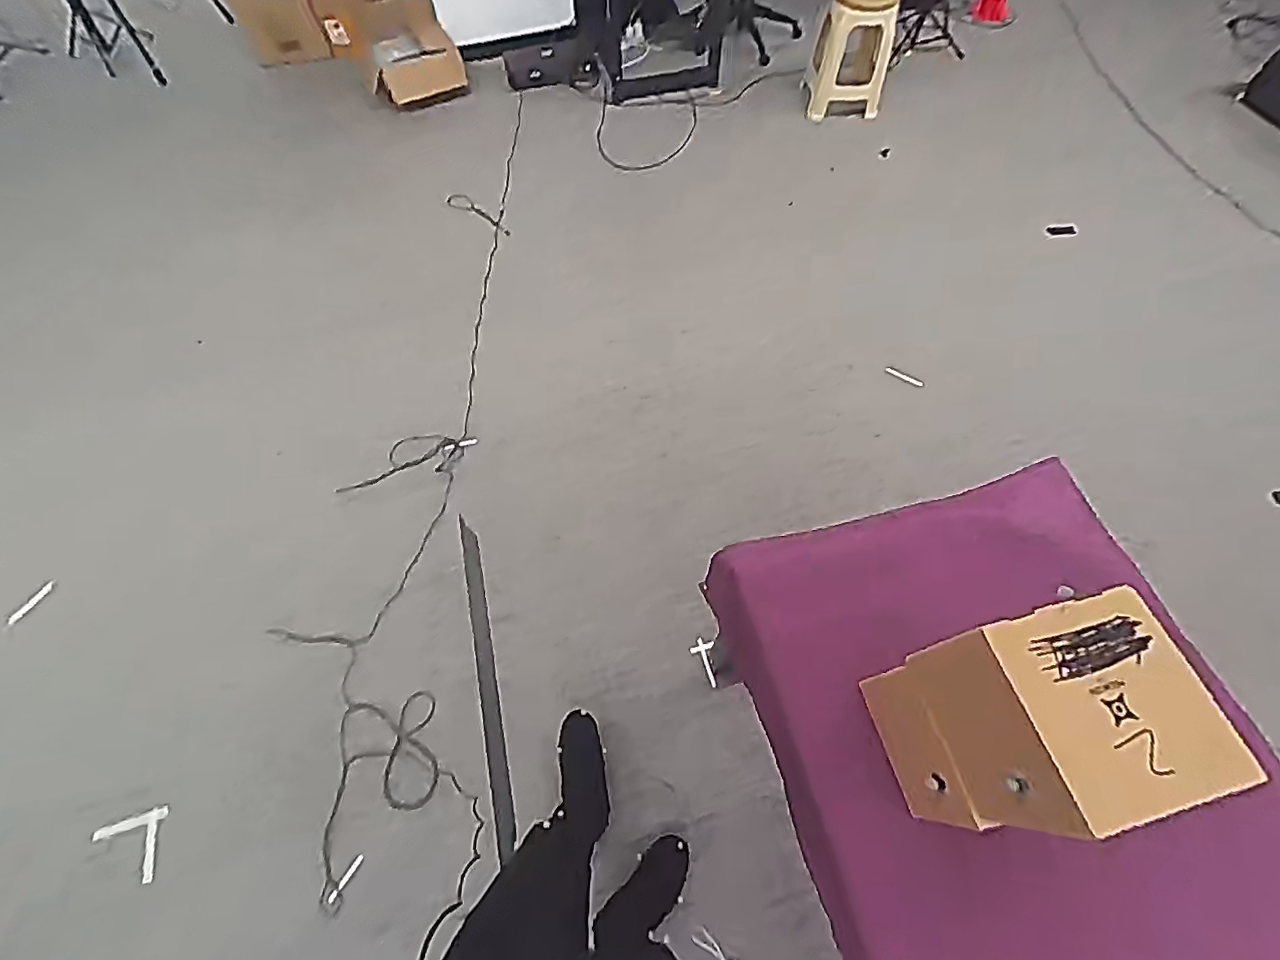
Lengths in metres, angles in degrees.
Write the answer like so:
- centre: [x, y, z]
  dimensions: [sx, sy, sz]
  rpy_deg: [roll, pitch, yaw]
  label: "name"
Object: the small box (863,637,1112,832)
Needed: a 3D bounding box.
- centre: [0.415, 0.316, 0.685]
  dimensions: [0.168, 0.176, 0.179]
  rpy_deg: [-12, 63, -5]
  label: "small box"
